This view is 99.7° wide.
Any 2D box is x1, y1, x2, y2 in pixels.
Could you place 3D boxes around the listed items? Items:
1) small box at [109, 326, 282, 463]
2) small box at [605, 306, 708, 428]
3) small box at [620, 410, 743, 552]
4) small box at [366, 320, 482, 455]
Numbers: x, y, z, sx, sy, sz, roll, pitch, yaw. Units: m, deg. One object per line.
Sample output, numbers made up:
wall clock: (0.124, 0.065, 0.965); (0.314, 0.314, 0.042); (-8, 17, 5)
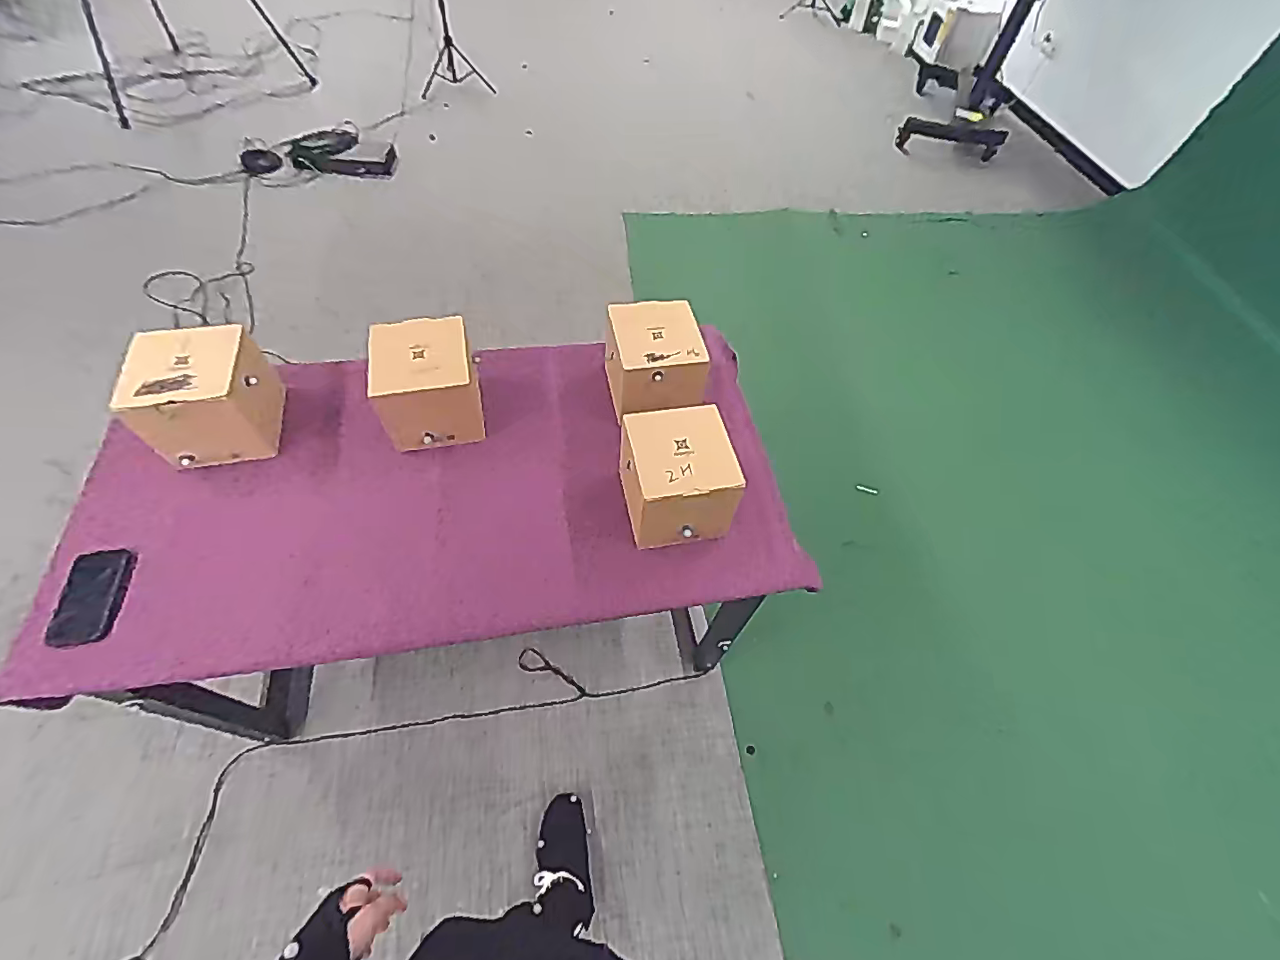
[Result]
small box: (-0.760, -0.143, 0.951); (0.168, 0.176, 0.179); (-9, 57, -12)
small box: (0.024, -0.224, 1.089); (0.168, 0.176, 0.179); (-8, 57, -10)
small box: (0.060, 0.003, 0.938); (0.168, 0.176, 0.179); (-7, 56, -9)
small box: (-0.396, -0.172, 1.012); (0.168, 0.176, 0.179); (-9, 58, -11)
